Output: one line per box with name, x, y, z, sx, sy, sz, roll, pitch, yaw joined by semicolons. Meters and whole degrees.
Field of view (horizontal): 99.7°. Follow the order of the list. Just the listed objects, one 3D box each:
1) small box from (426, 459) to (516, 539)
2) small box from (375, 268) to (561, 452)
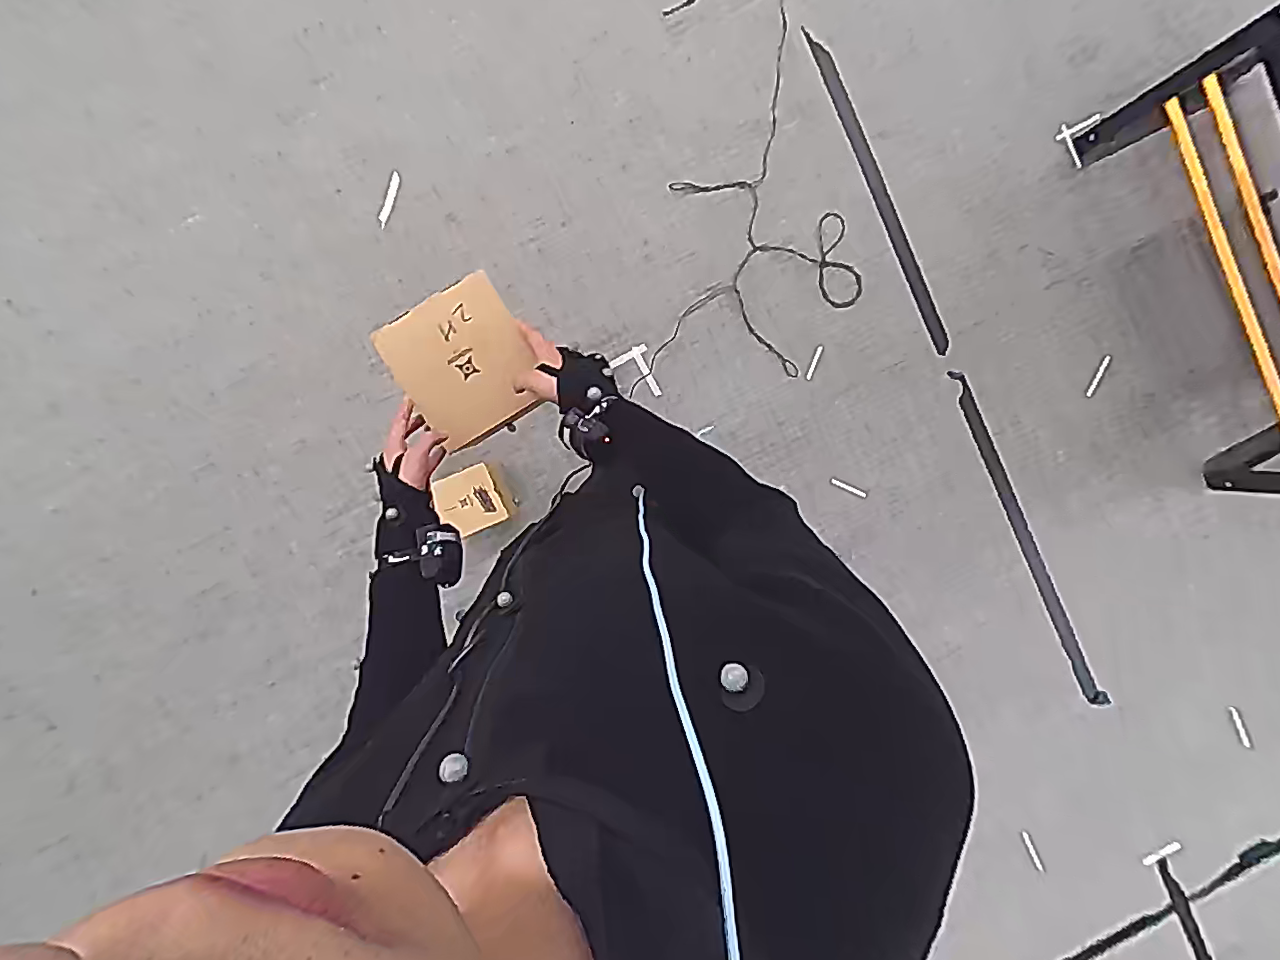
small box;-0.462;0.045;1.514;0.179;0.176;0.168;-23;94;-1
small box;-0.221;-0.160;0.753;0.168;0.176;0.179;-31;100;-2
